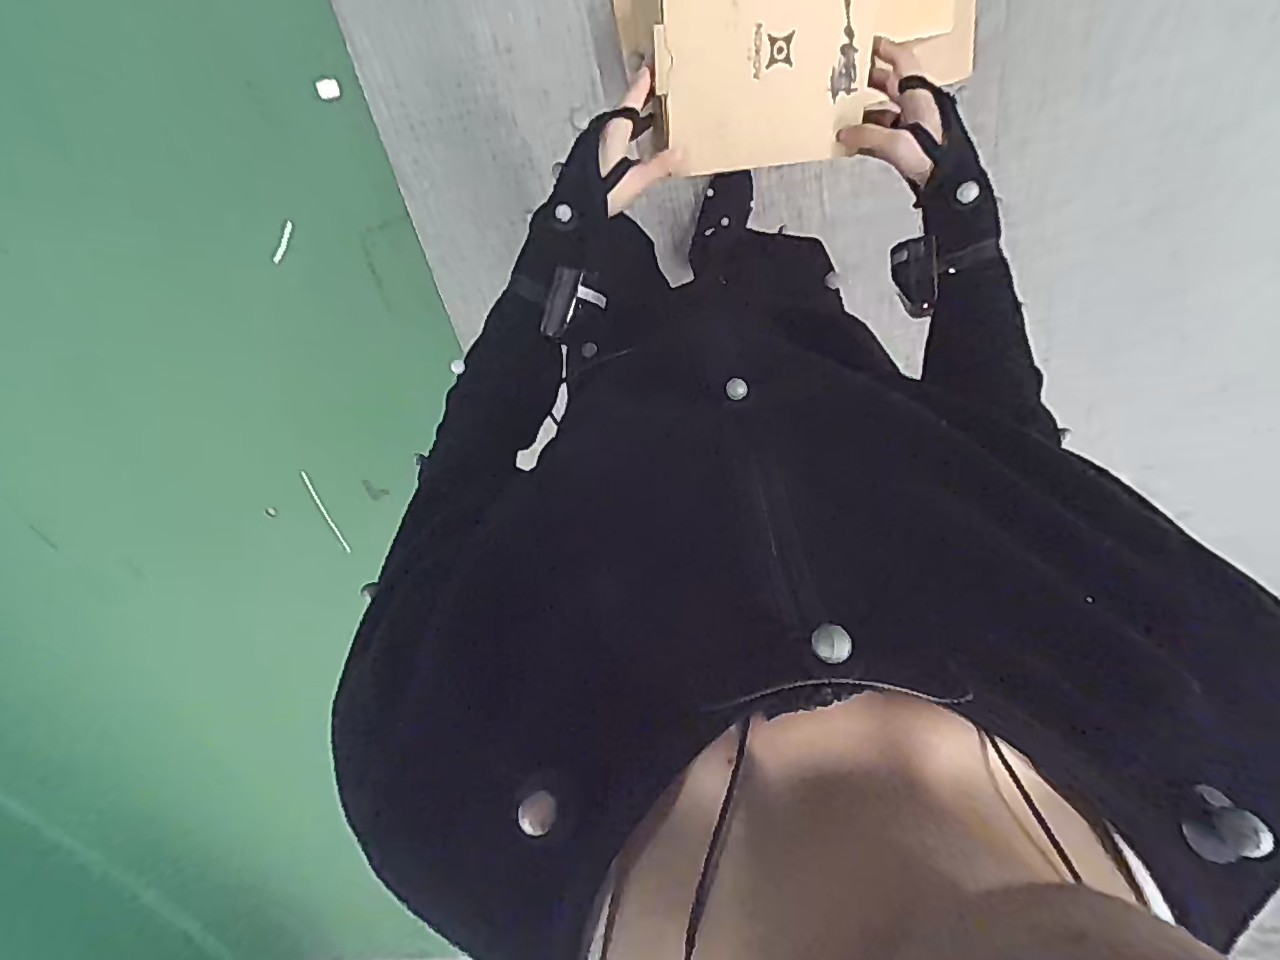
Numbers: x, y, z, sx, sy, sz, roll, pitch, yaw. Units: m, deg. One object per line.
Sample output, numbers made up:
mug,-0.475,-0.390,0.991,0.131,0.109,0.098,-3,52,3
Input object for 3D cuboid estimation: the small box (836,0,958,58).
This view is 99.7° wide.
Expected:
small box,0.464,-0.895,0.984,0.168,0.176,0.179,-6,119,5

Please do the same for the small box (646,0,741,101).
small box,0.101,-0.840,1.033,0.168,0.176,0.179,-5,120,5
